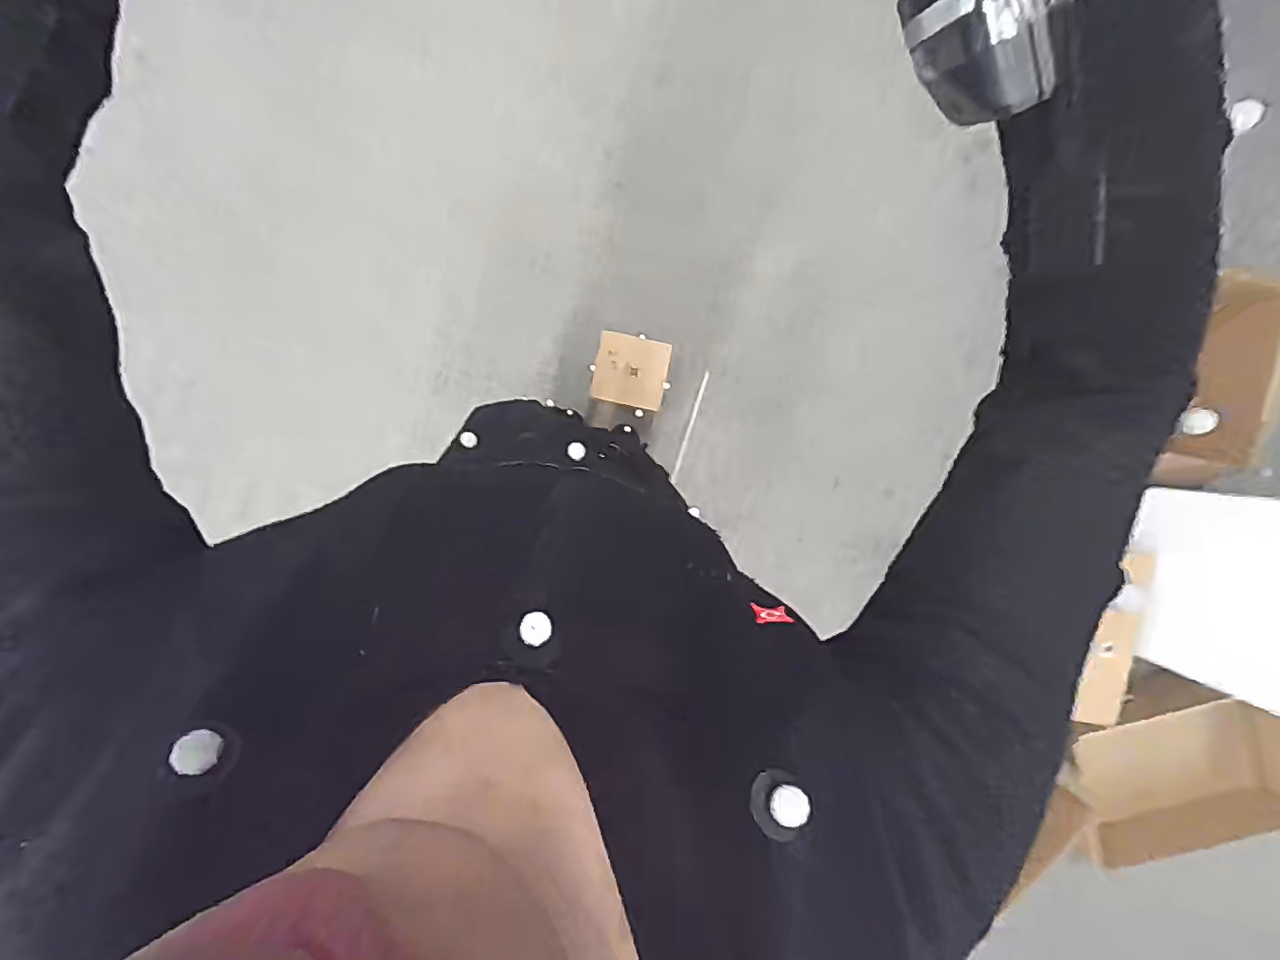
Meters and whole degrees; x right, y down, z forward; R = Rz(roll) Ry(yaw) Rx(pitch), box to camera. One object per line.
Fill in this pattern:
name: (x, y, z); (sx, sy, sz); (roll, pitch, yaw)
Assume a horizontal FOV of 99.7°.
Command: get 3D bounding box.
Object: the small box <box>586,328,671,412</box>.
small box: (-0.032, -0.271, 1.370); (0.179, 0.176, 0.168); (13, 93, -3)
